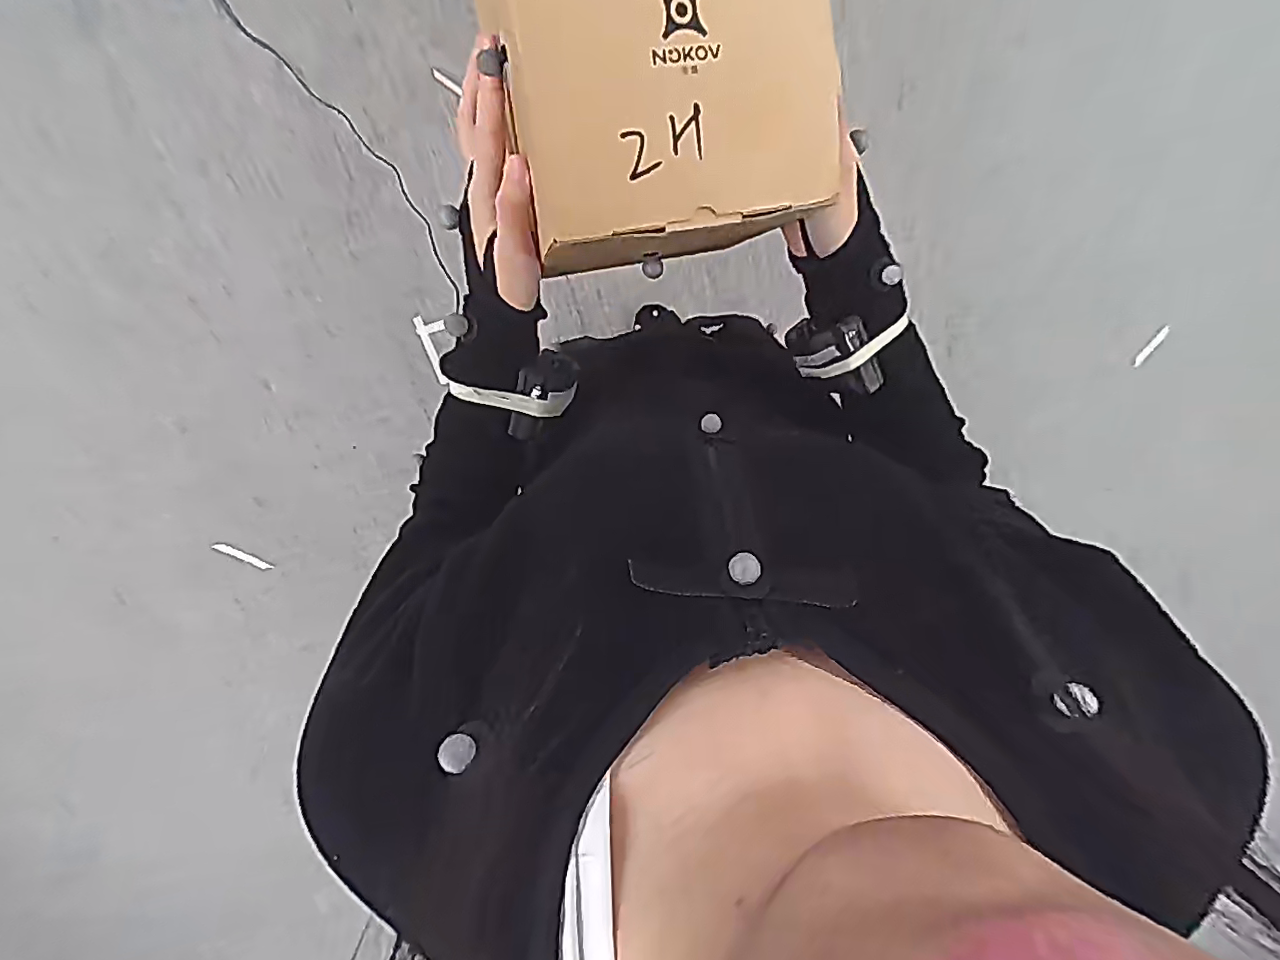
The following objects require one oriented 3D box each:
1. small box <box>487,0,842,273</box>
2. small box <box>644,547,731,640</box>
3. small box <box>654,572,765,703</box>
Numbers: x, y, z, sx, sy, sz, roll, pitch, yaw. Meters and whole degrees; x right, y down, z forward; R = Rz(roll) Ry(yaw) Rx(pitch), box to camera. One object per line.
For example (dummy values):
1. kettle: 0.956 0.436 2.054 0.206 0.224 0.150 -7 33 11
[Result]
1. small box: 0.002 -0.242 0.340 0.168 0.176 0.179 -13 107 -10
2. small box: 0.116 0.269 1.208 0.179 0.176 0.168 -16 107 1
3. small box: 0.130 0.307 1.051 0.168 0.176 0.179 -16 106 0
